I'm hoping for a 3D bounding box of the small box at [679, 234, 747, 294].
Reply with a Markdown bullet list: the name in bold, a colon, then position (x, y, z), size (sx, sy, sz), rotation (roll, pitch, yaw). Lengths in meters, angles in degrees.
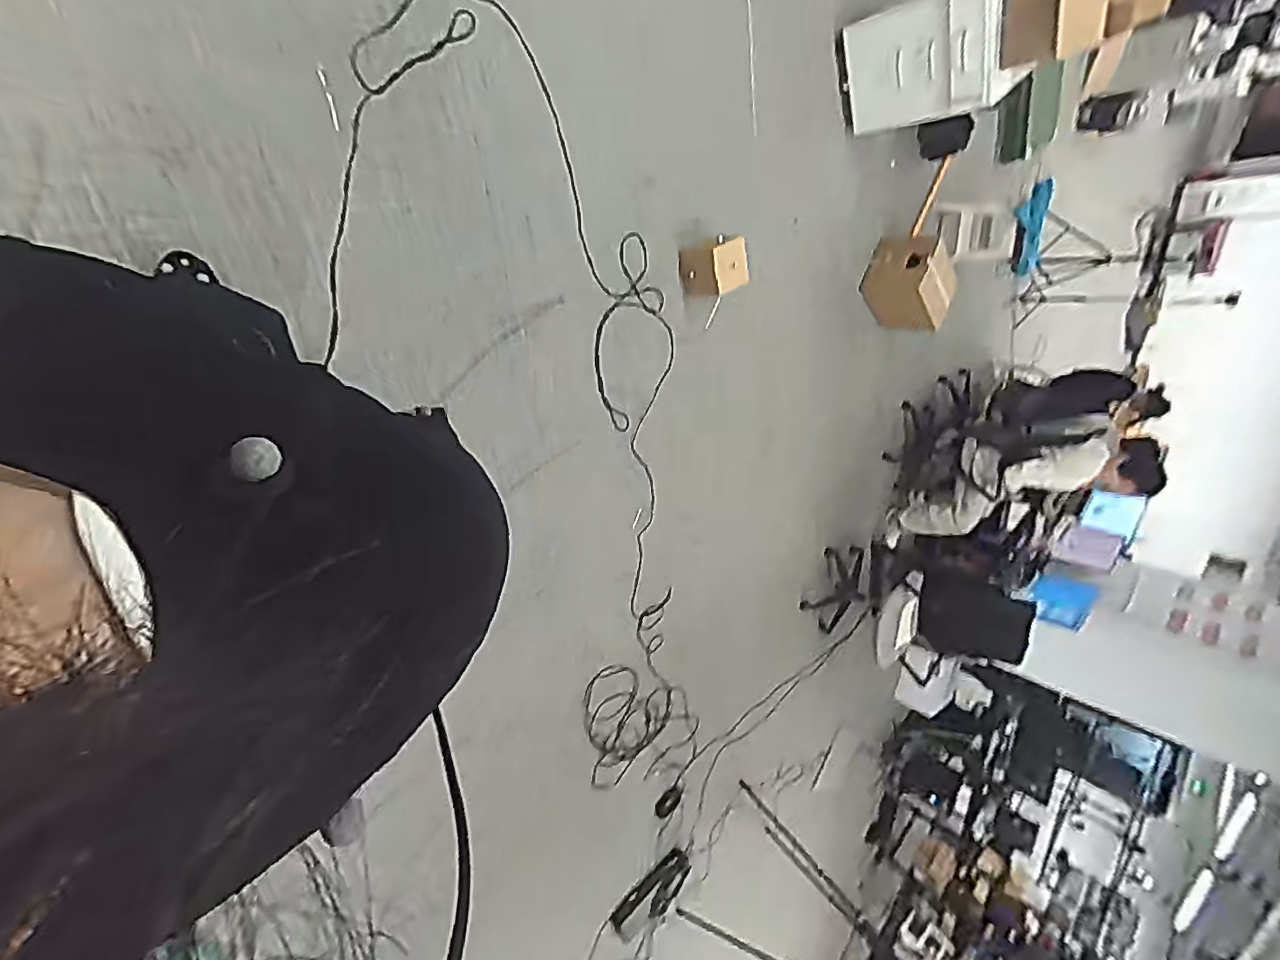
- **small box**: position (0.270, -0.800, 1.999), size (0.179, 0.176, 0.168), rotation (-36, 126, -29)
